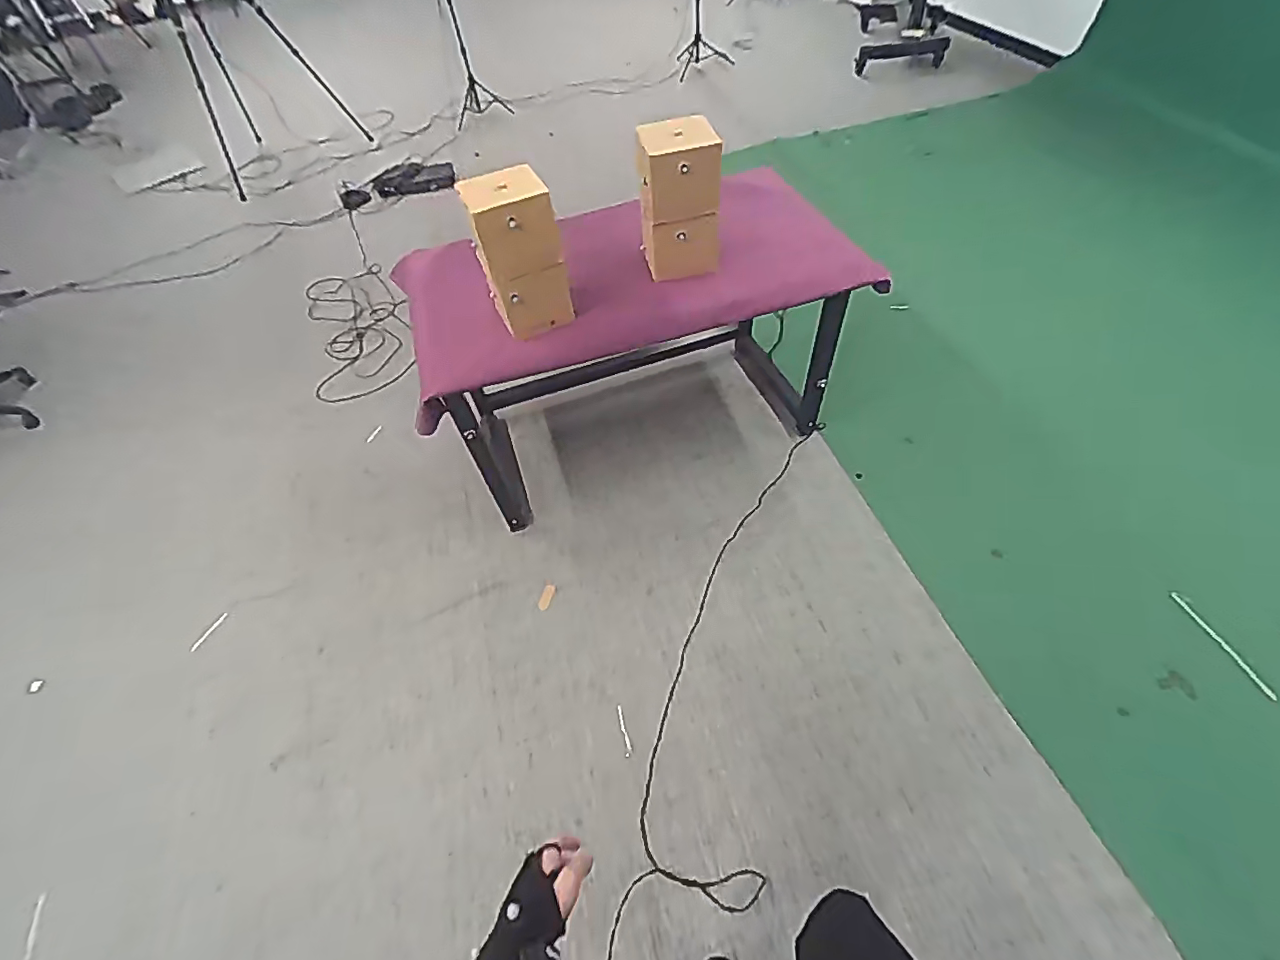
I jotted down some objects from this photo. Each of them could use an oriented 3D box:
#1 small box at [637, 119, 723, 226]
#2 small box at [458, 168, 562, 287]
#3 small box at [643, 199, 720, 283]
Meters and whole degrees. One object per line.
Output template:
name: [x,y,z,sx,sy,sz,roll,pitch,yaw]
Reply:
small box: [0.098,-0.748,1.326,0.179,0.176,0.168,-12,55,-3]
small box: [-0.289,-0.575,1.237,0.179,0.176,0.168,-23,54,-11]
small box: [0.112,-0.656,1.460,0.179,0.176,0.168,-11,54,-3]
